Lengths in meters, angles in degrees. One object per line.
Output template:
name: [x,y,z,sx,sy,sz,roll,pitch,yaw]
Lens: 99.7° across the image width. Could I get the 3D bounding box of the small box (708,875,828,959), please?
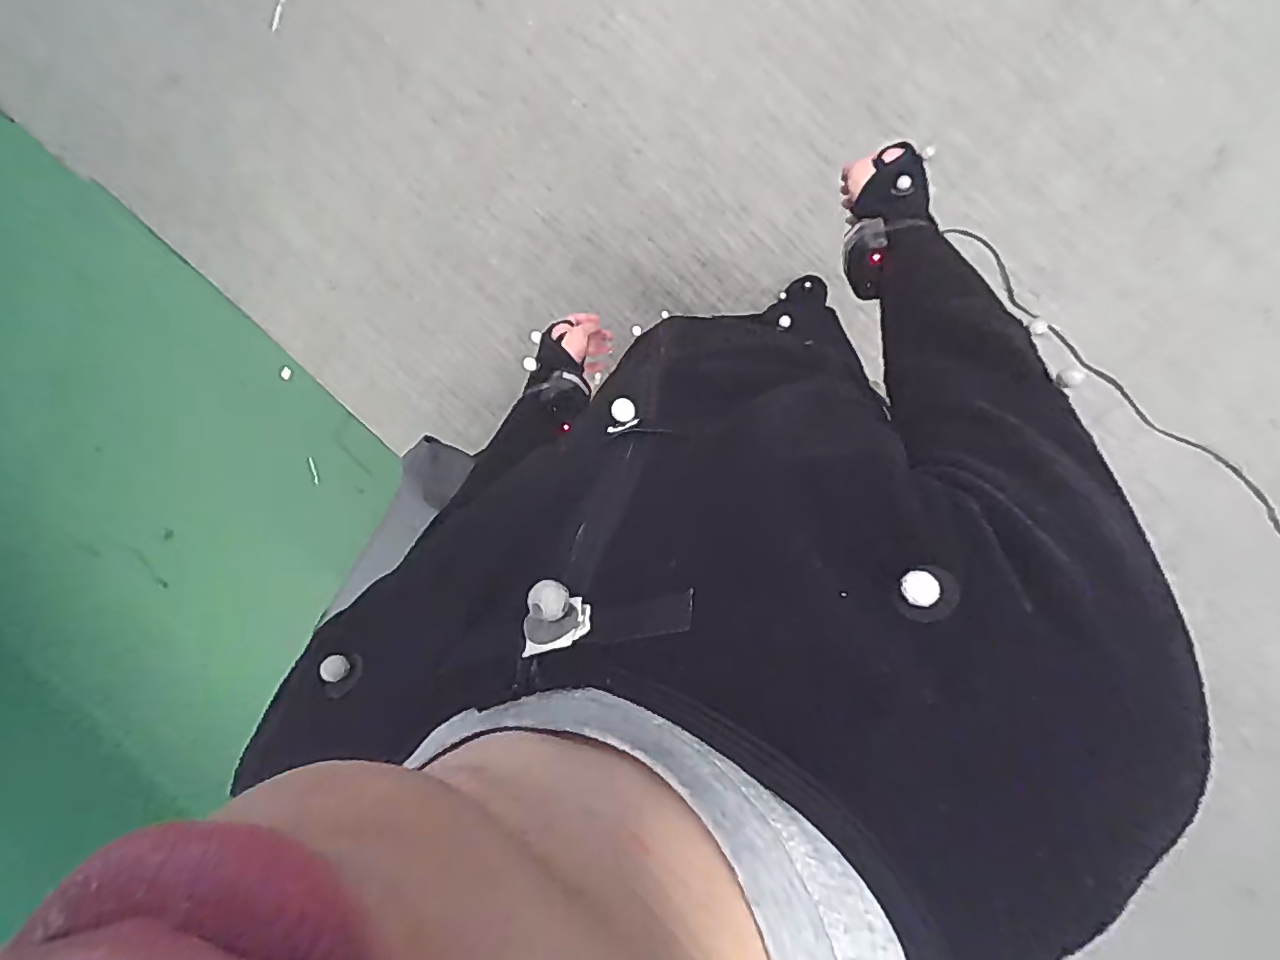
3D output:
small box: [0.256,0.938,1.073,0.168,0.176,0.179,41,118,-1]
